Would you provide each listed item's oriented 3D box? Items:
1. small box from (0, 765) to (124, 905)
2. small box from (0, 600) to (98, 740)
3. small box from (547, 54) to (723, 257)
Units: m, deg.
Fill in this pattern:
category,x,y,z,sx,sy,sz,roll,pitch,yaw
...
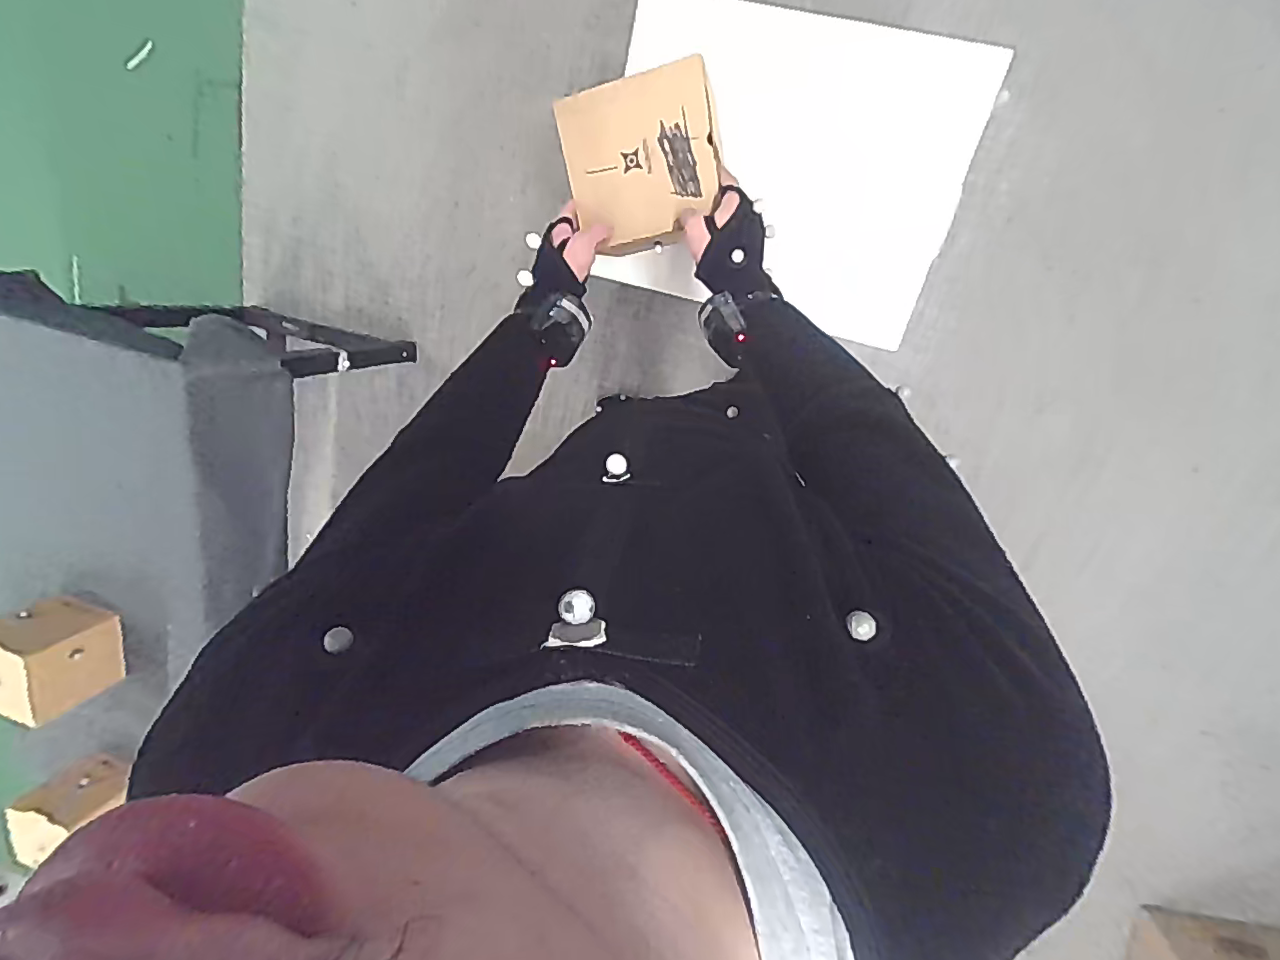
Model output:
category,x,y,z,sx,sy,sz,roll,pitch,yaw
small box,-1.310,0.781,1.207,0.168,0.176,0.179,16,107,6
small box,-1.242,0.367,1.076,0.168,0.176,0.179,16,110,7
small box,0.008,-0.385,0.677,0.179,0.176,0.168,-7,108,15
